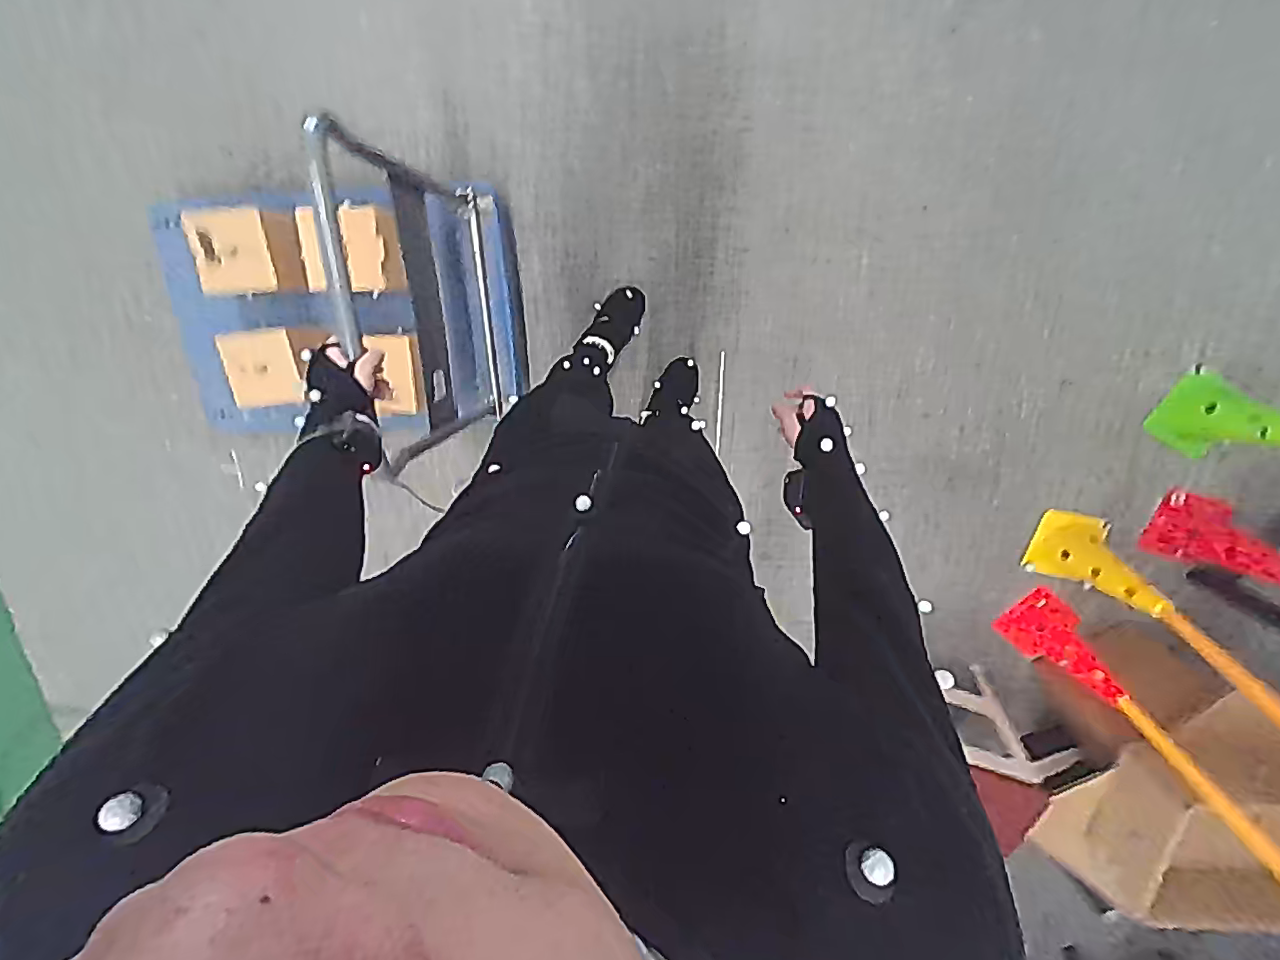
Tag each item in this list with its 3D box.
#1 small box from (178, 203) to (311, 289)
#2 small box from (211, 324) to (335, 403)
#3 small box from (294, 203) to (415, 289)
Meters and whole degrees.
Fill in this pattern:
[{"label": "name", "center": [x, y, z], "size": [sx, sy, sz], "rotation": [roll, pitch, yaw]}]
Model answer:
[{"label": "small box", "center": [-0.892, -0.532, 1.246], "size": [0.179, 0.176, 0.168], "rotation": [-3, 109, 3]}, {"label": "small box", "center": [-0.883, -0.290, 1.327], "size": [0.179, 0.176, 0.168], "rotation": [-5, 107, 4]}, {"label": "small box", "center": [-0.644, -0.529, 1.238], "size": [0.179, 0.176, 0.168], "rotation": [1, 108, 2]}]
